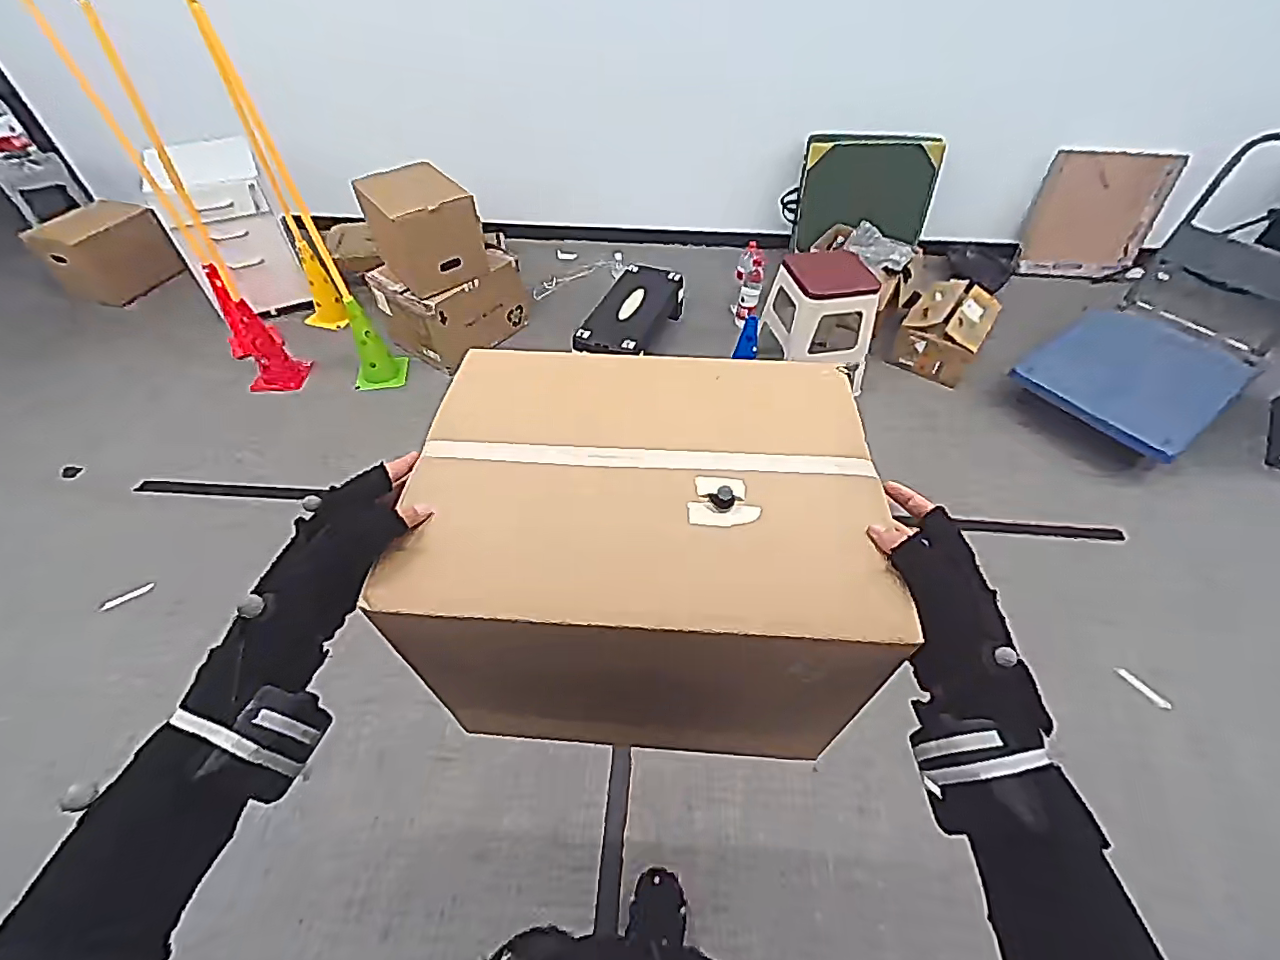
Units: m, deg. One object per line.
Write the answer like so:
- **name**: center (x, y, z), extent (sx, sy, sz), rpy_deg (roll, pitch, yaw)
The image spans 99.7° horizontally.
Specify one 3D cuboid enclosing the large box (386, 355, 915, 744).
- **large box**: center (0.010, 0.083, 0.607), extent (0.408, 0.320, 0.320), rpy_deg (3, 50, 2)
